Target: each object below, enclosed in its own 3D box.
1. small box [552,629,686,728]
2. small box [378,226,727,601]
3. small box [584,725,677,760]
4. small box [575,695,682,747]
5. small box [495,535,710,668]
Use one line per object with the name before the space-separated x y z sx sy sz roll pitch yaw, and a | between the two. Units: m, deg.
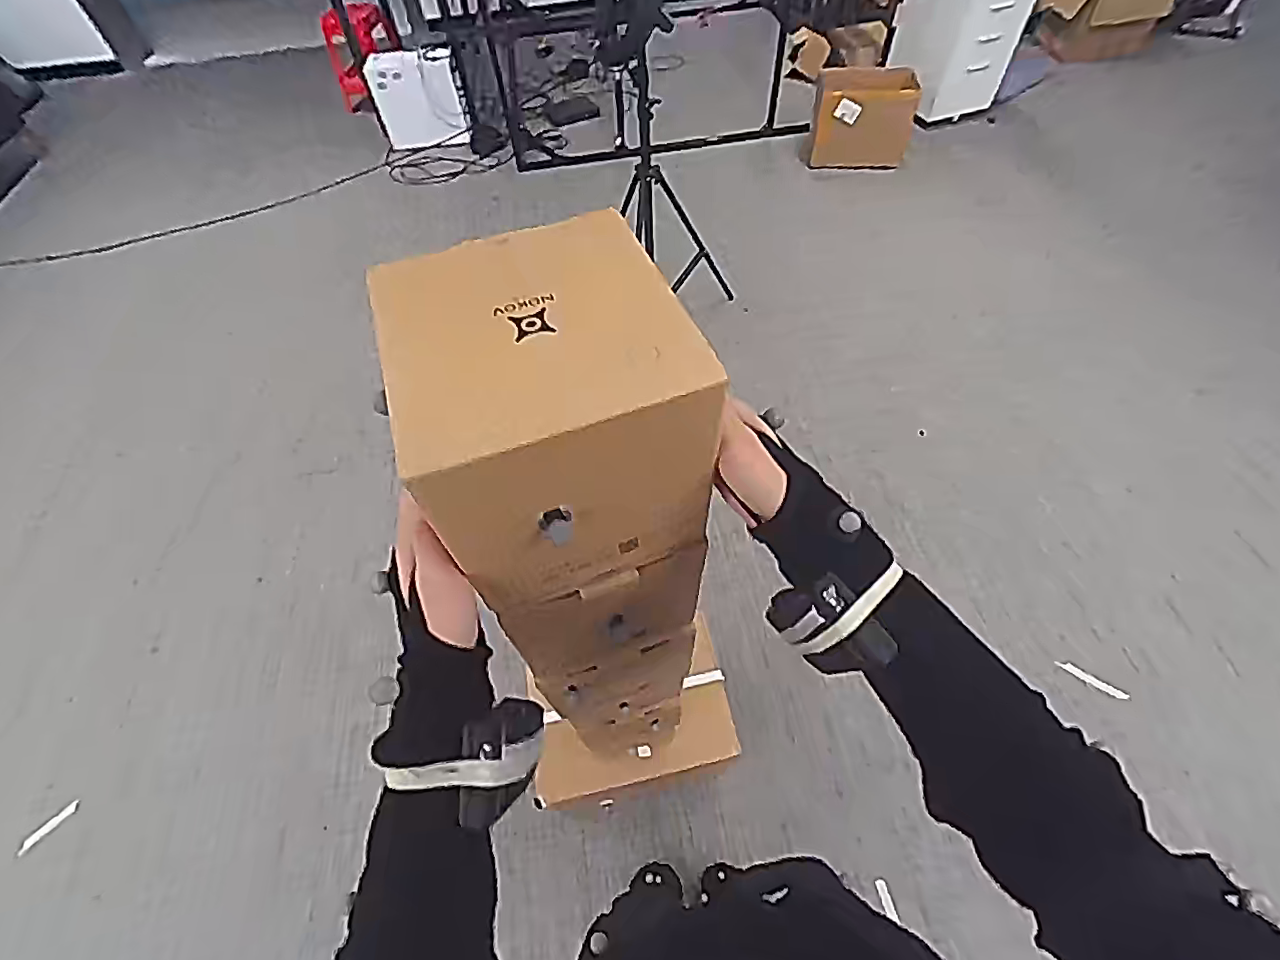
small box | -0.041 0.240 0.778 0.168 0.176 0.179 -15 57 -10
small box | -0.055 -0.036 0.373 0.168 0.176 0.179 -19 56 -11
small box | -0.030 0.423 1.049 0.168 0.176 0.179 -12 57 -5
small box | -0.031 0.335 0.913 0.168 0.176 0.179 -12 55 -7
small box | -0.049 0.058 0.506 0.168 0.176 0.179 -19 58 -11
